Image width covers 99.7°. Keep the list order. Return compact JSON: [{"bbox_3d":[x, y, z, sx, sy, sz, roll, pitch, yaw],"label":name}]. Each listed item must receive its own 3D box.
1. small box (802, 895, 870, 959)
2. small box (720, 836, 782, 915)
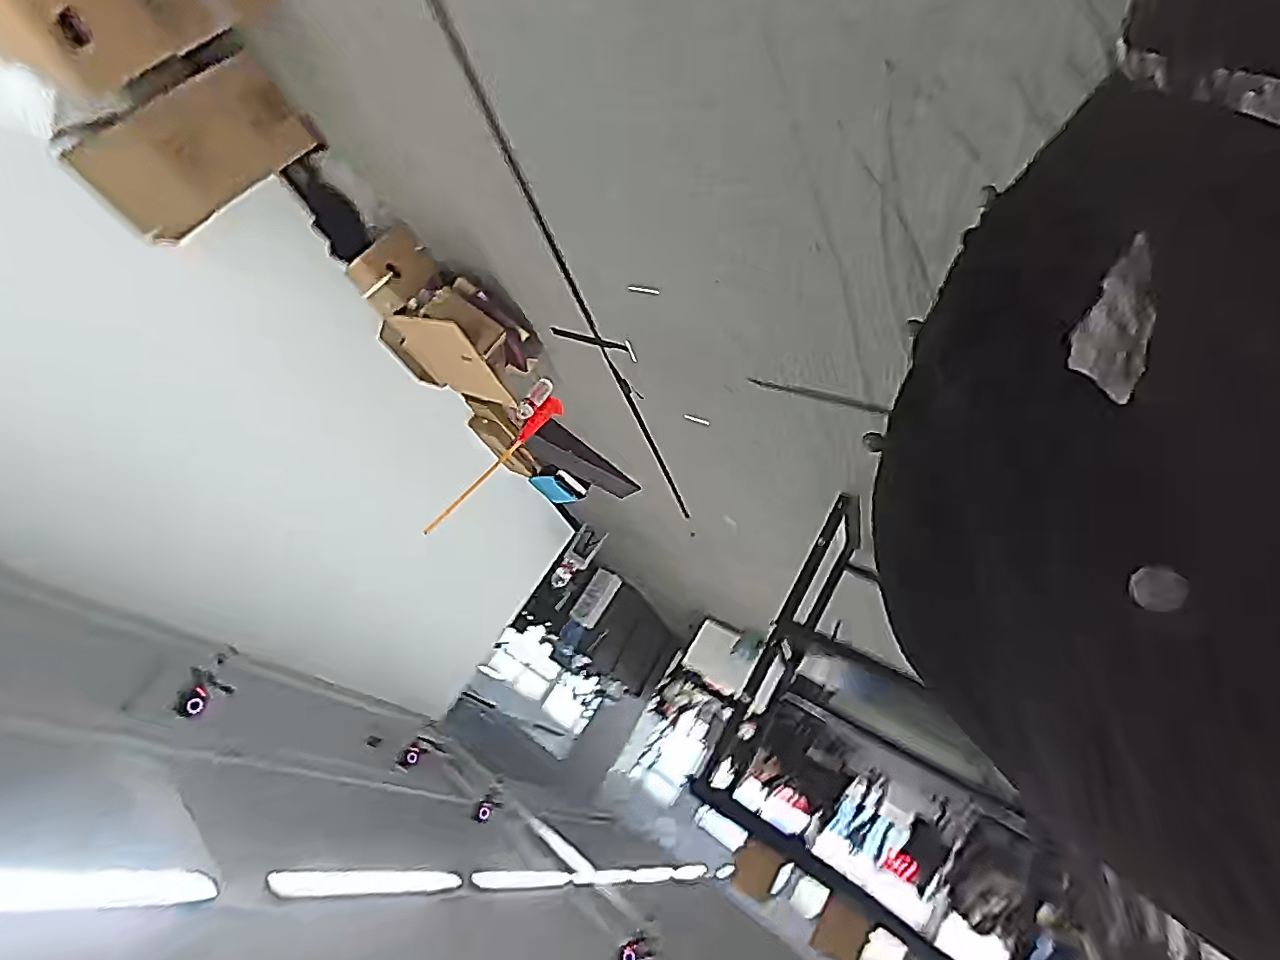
[{"bbox_3d":[0.663,1.542,1.823,0.168,0.176,0.179,23,158,32],"label":"small box"},{"bbox_3d":[0.413,1.440,1.985,0.168,0.176,0.179,24,157,26],"label":"small box"}]
